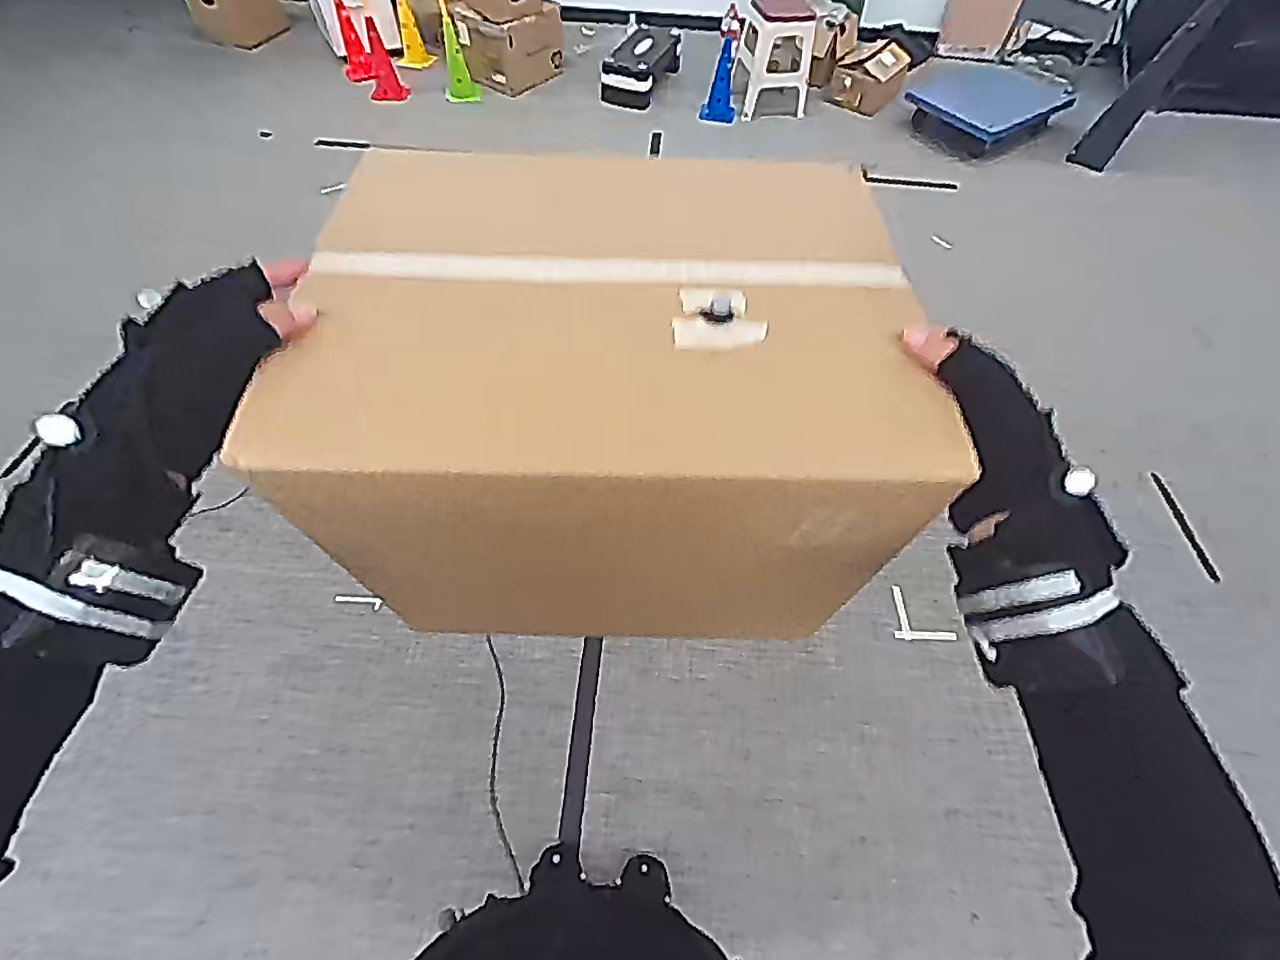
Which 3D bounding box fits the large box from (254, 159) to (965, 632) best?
[{"bbox_3d":[-0.021,-0.056,0.502,0.408,0.320,0.320,1,59,-2],"label":"large box"}]
